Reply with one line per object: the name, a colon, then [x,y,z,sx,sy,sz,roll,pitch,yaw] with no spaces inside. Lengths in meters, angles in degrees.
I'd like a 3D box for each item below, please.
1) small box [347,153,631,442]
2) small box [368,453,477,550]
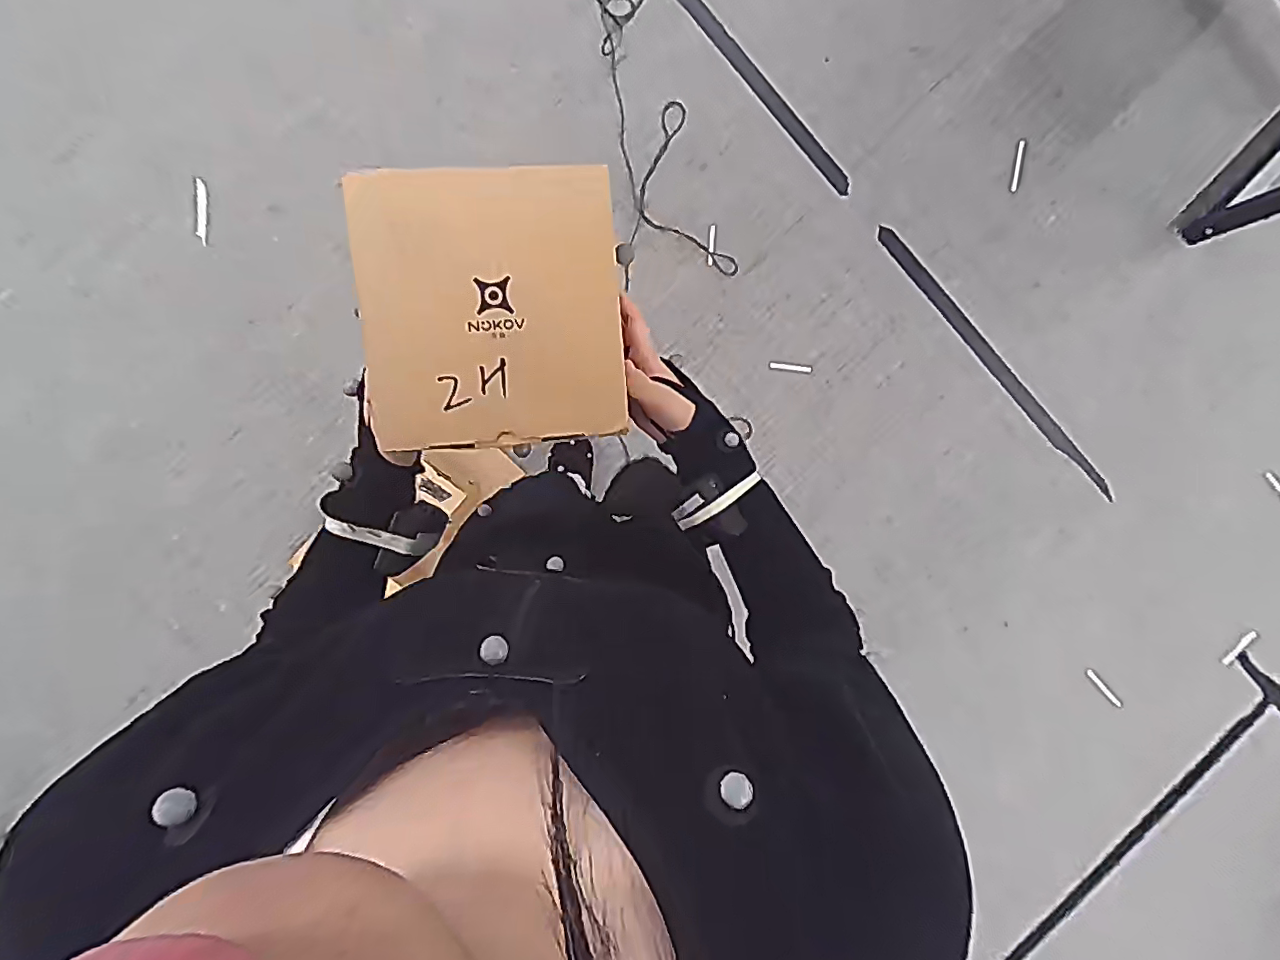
small box: [-0.102,-0.123,0.421,0.168,0.176,0.179,-5,97,-7]
small box: [-0.532,0.046,1.356,0.168,0.176,0.179,40,90,-5]
